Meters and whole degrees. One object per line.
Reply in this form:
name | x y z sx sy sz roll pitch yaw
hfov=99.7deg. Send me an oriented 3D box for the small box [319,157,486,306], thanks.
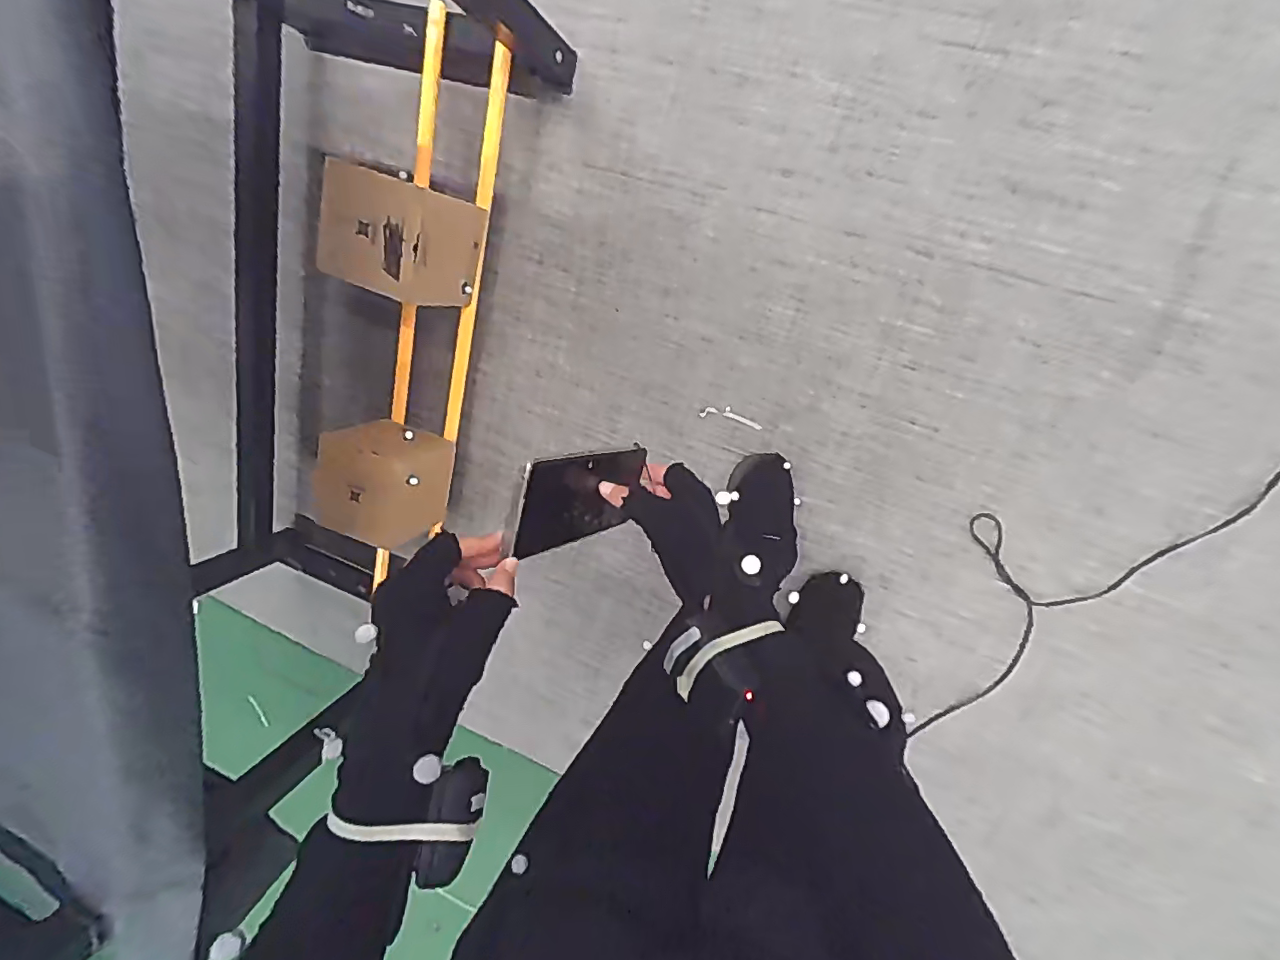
small box | -0.376 -0.390 0.874 0.179 0.176 0.168 23 111 10
